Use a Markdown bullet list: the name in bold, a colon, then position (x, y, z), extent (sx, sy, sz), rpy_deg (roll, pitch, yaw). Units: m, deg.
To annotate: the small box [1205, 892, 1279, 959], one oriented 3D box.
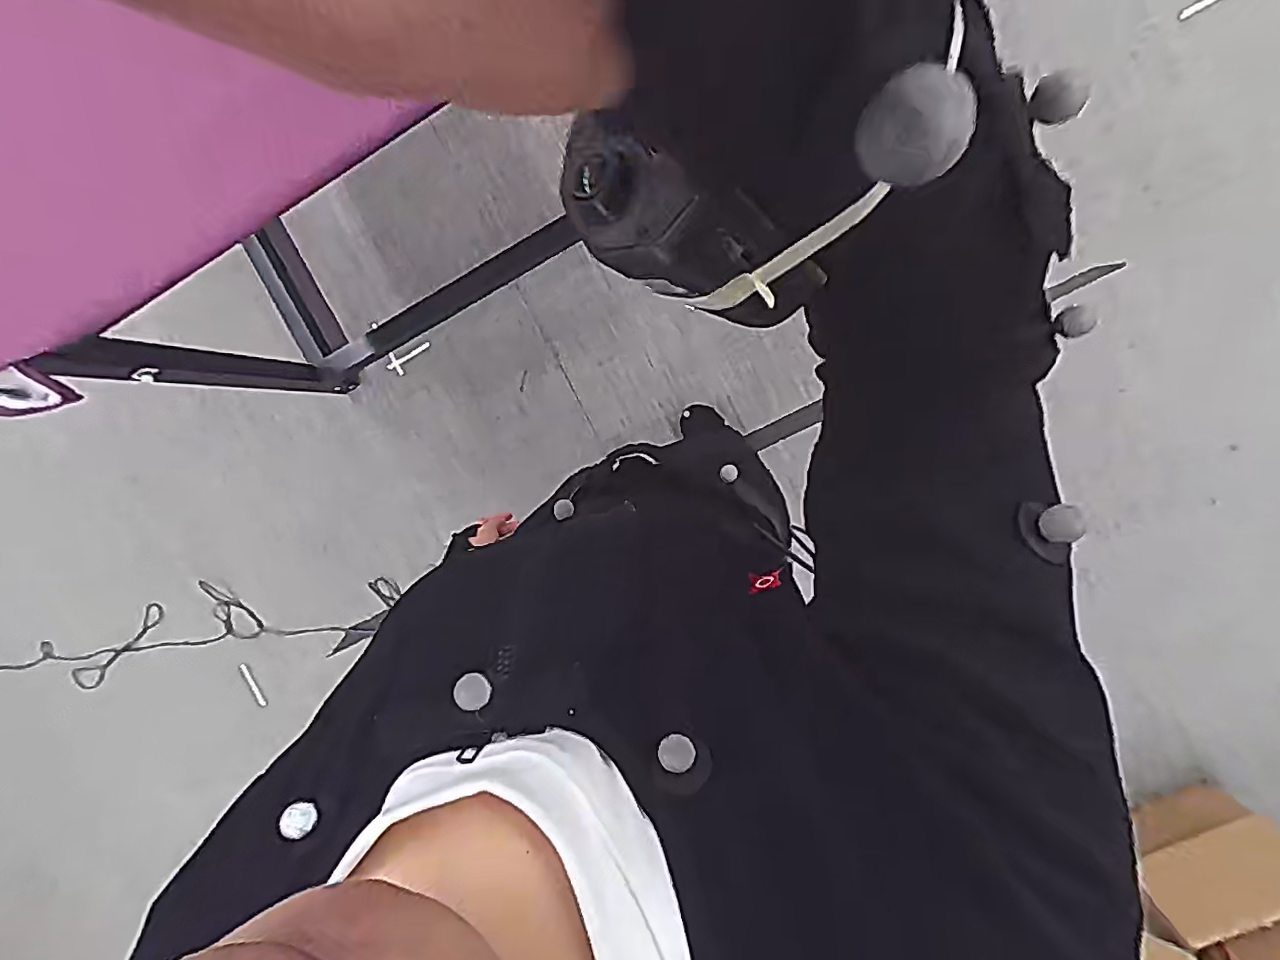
- **small box**: position (1.296, 0.972, 1.060), extent (0.168, 0.176, 0.179), rpy_deg (-29, 91, 9)
